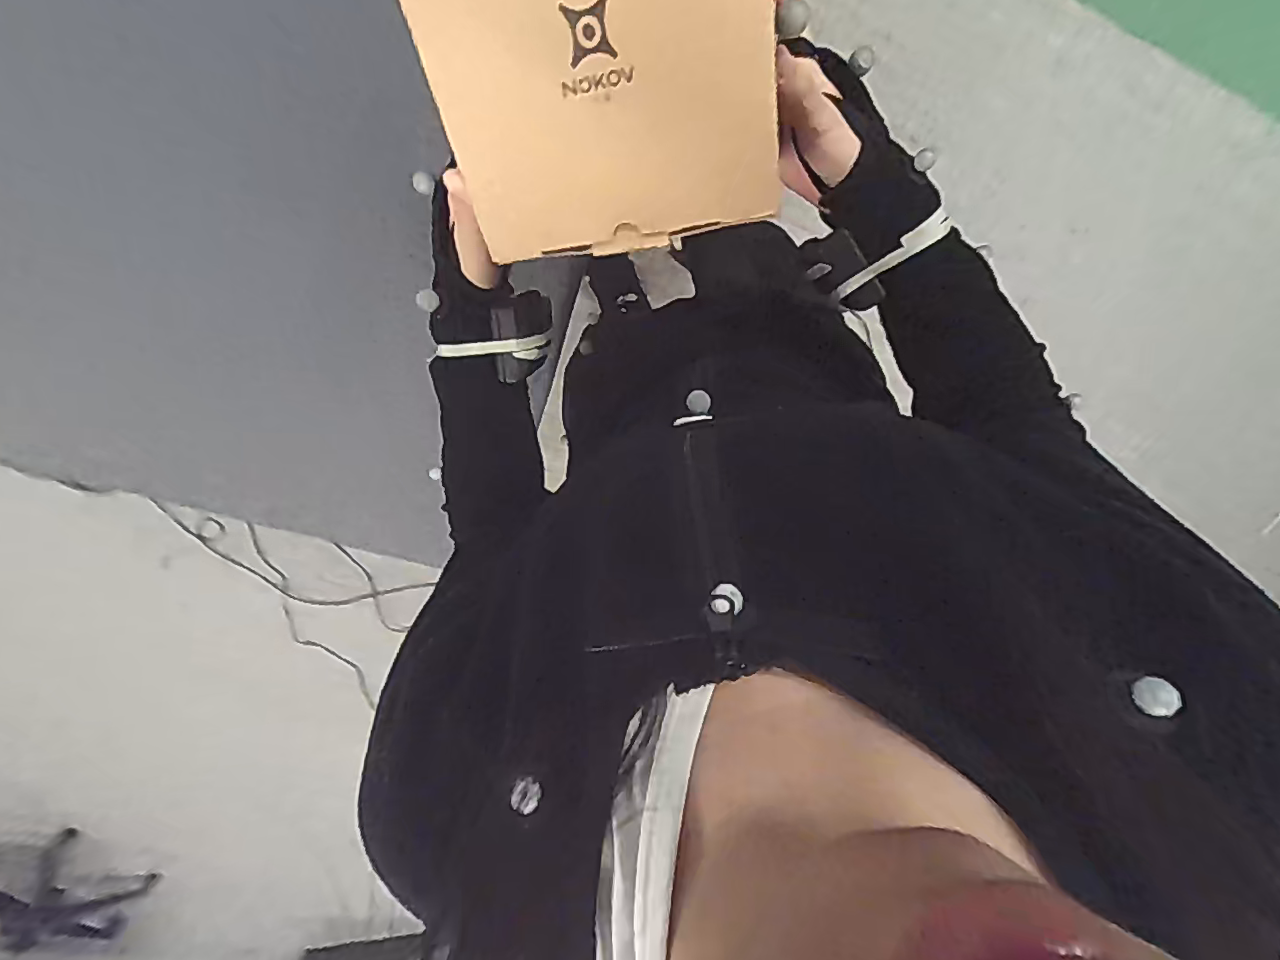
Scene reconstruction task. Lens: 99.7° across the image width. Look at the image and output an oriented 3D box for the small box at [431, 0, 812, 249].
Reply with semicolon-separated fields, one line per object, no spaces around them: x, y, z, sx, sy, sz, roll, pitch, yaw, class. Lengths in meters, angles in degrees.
-0.002;-0.251;0.297;0.168;0.176;0.179;-4;130;11;small box
